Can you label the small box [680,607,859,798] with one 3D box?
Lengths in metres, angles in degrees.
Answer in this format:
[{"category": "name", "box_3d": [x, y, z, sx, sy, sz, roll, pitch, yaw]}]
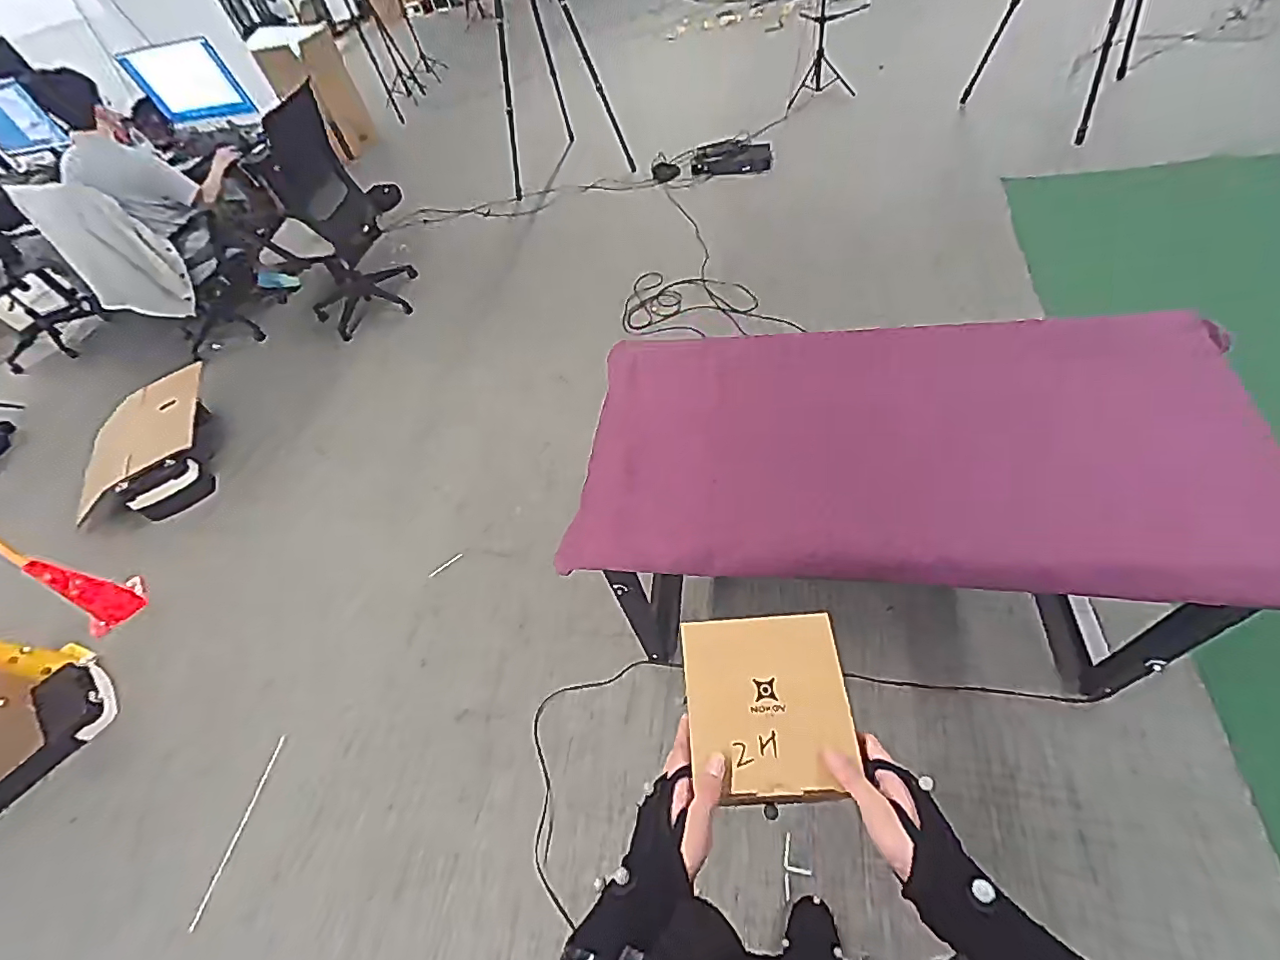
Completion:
[{"category": "small box", "box_3d": [0.135, 0.264, 0.631, 0.168, 0.176, 0.179, -5, 57, 5]}]
